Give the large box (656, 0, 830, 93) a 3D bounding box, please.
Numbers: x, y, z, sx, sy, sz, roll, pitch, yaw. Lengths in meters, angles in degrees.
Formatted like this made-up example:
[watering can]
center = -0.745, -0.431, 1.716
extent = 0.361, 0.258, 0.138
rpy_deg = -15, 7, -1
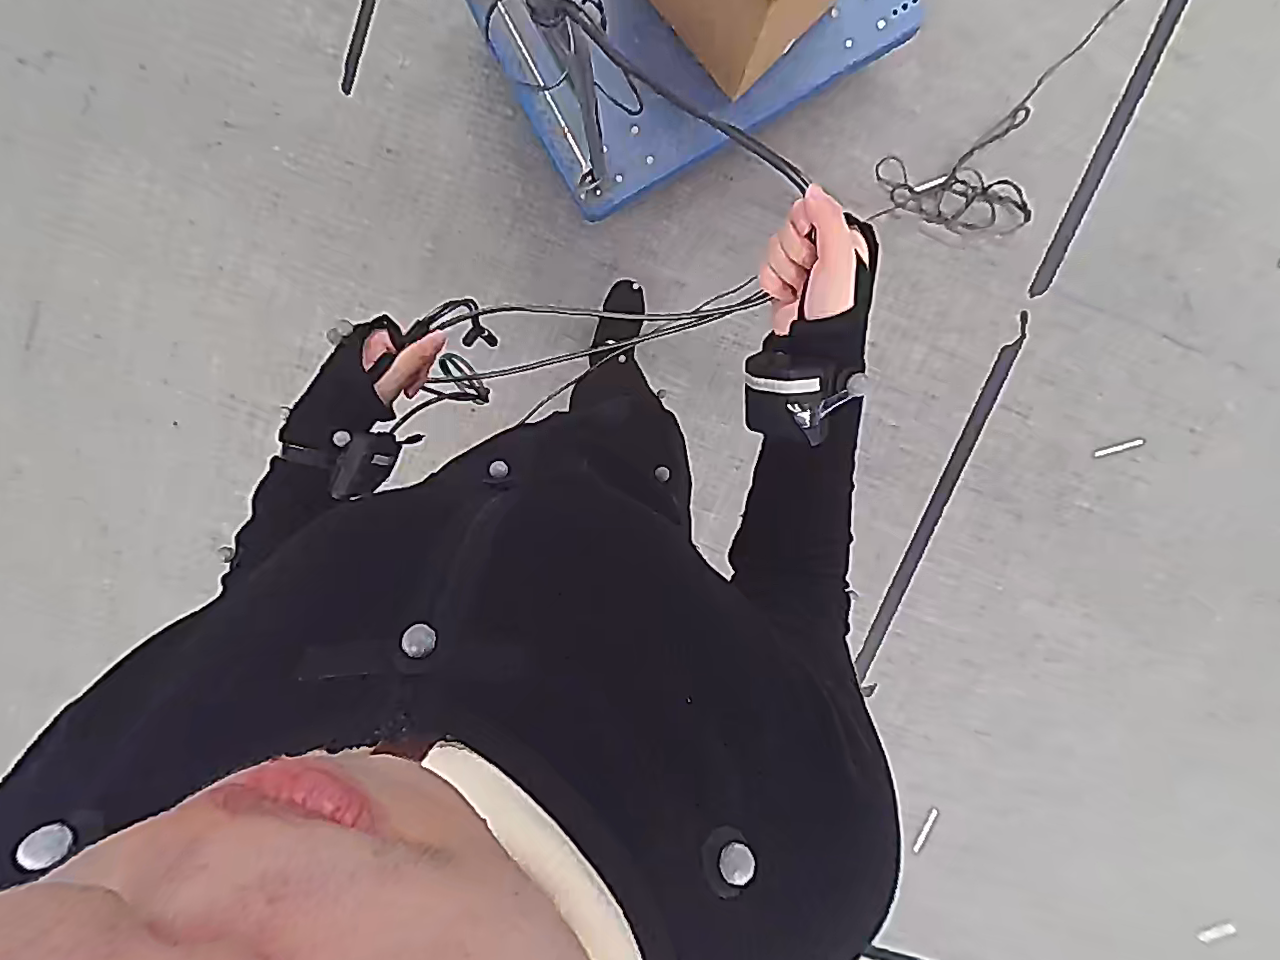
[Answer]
[large box]
center = 0.186, -1.057, 0.993
extent = 0.320, 0.320, 0.408
rpy_deg = -44, 99, 5
